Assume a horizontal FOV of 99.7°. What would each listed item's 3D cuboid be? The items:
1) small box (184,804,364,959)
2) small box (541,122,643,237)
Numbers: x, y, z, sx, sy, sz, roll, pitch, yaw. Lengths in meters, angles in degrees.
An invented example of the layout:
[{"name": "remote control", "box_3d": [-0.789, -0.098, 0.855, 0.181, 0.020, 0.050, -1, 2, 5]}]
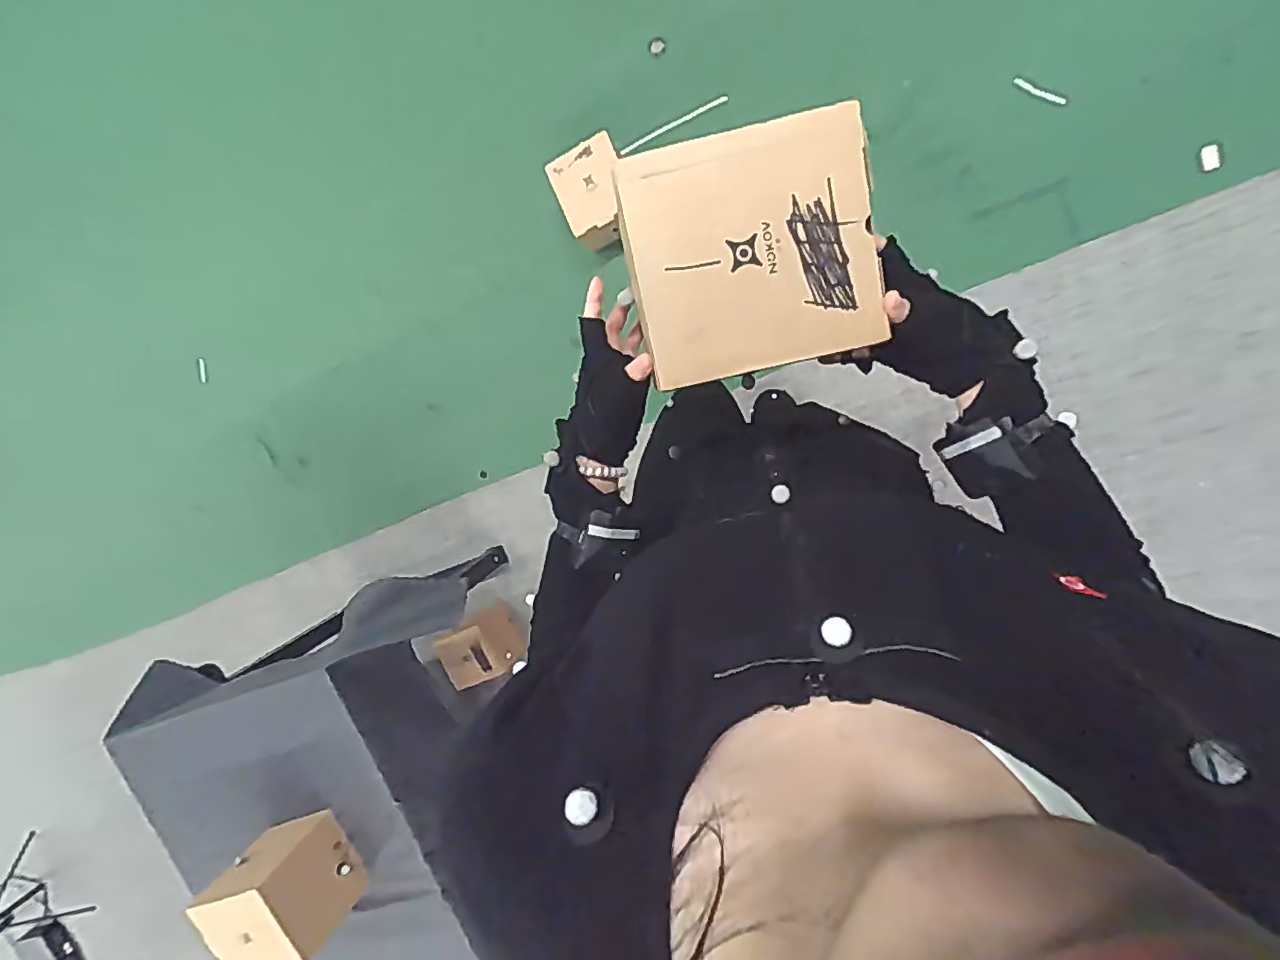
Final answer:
[{"name": "small box", "box_3d": [-0.649, 0.729, 0.978, 0.179, 0.176, 0.168, -23, 98, 15]}, {"name": "small box", "box_3d": [-0.106, -0.708, 1.303, 0.168, 0.176, 0.179, -21, 99, 15]}]
